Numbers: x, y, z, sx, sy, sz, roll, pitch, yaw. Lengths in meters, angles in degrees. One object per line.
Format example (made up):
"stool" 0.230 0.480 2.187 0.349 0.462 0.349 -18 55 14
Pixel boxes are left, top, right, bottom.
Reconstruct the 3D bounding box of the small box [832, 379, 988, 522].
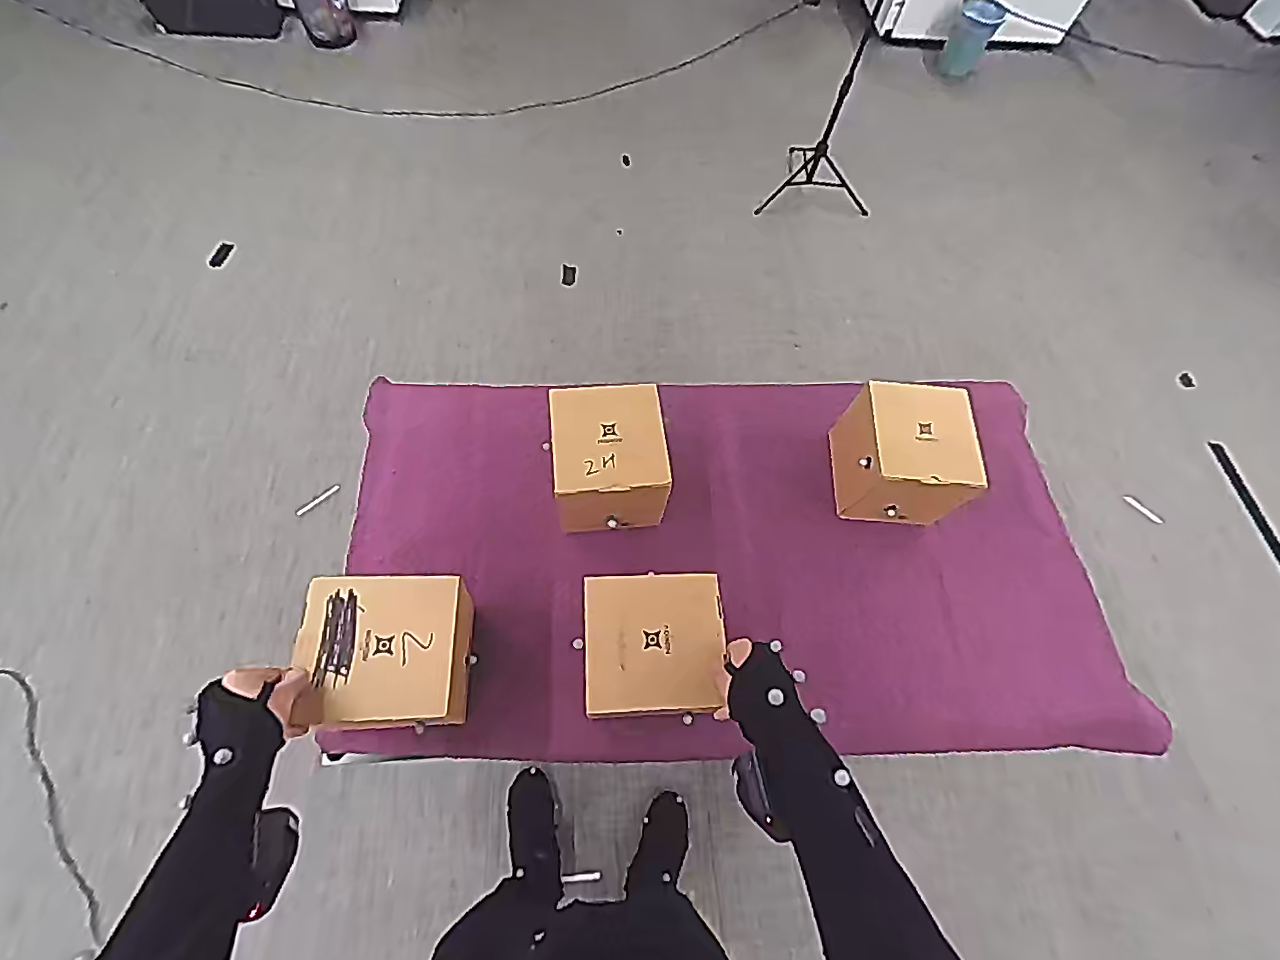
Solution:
"small box" 0.436 -0.045 0.908 0.168 0.176 0.179 4 66 -2

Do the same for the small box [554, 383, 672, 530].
"small box" -0.050 -0.034 0.863 0.168 0.176 0.179 -4 65 -6

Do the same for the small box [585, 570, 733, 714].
"small box" 0.014 0.226 0.741 0.179 0.176 0.168 0 64 -6
